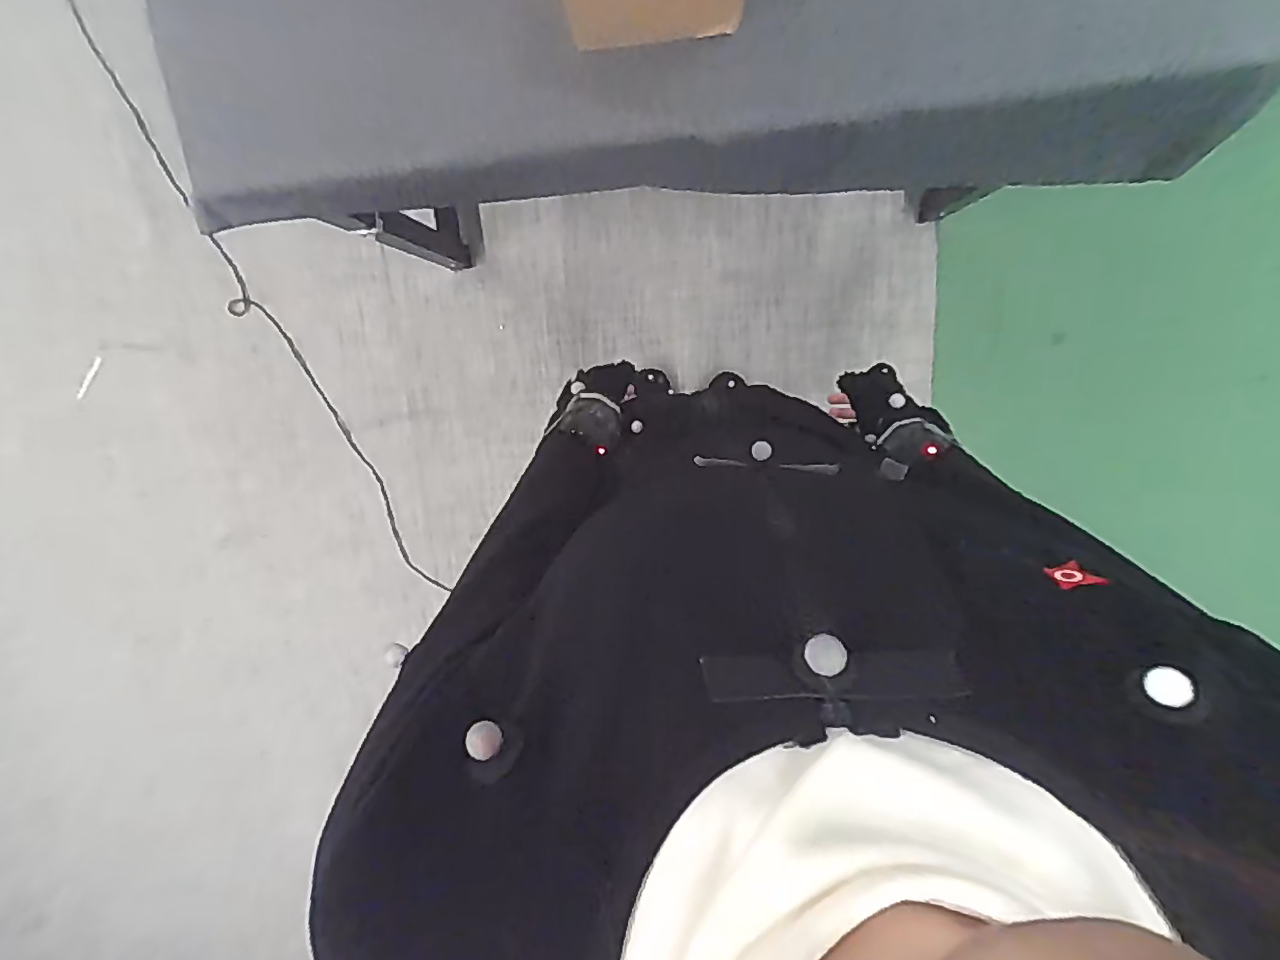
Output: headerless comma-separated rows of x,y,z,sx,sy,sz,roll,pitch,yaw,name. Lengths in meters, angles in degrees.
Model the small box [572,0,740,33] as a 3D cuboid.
0.011,-0.544,0.487,0.179,0.176,0.168,-3,104,4,small box
